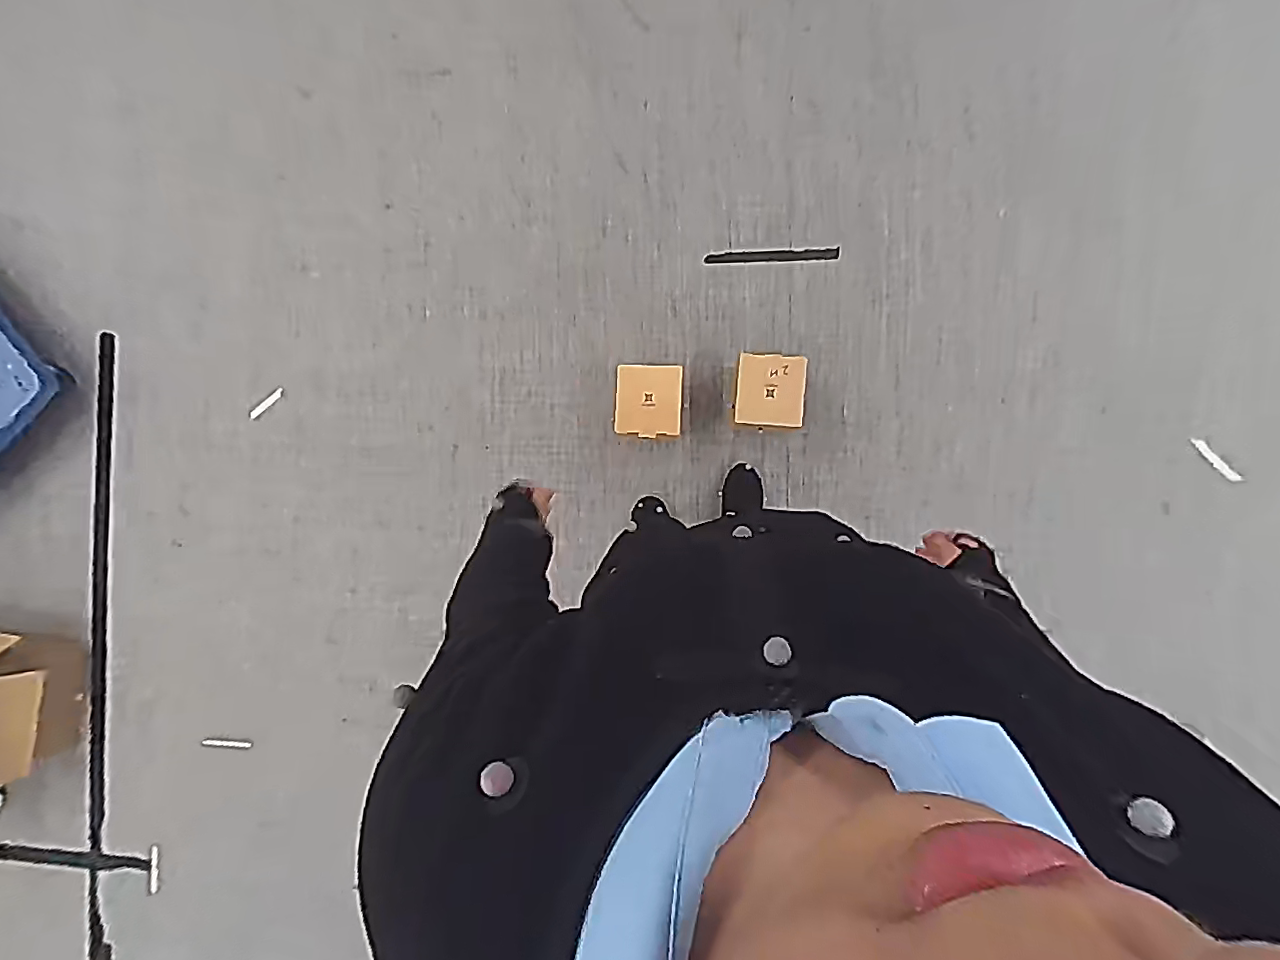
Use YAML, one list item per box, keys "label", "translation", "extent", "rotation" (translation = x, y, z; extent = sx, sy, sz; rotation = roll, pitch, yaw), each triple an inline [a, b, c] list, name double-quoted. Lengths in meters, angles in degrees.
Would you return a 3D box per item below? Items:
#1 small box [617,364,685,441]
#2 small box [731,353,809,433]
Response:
- label: "small box"
  translation: [0.034, -0.199, 1.429]
  extent: [0.168, 0.176, 0.179]
  rotation: [2, 90, 5]
- label: "small box"
  translation: [0.331, -0.219, 1.401]
  extent: [0.168, 0.176, 0.179]
  rotation: [5, 90, 4]
